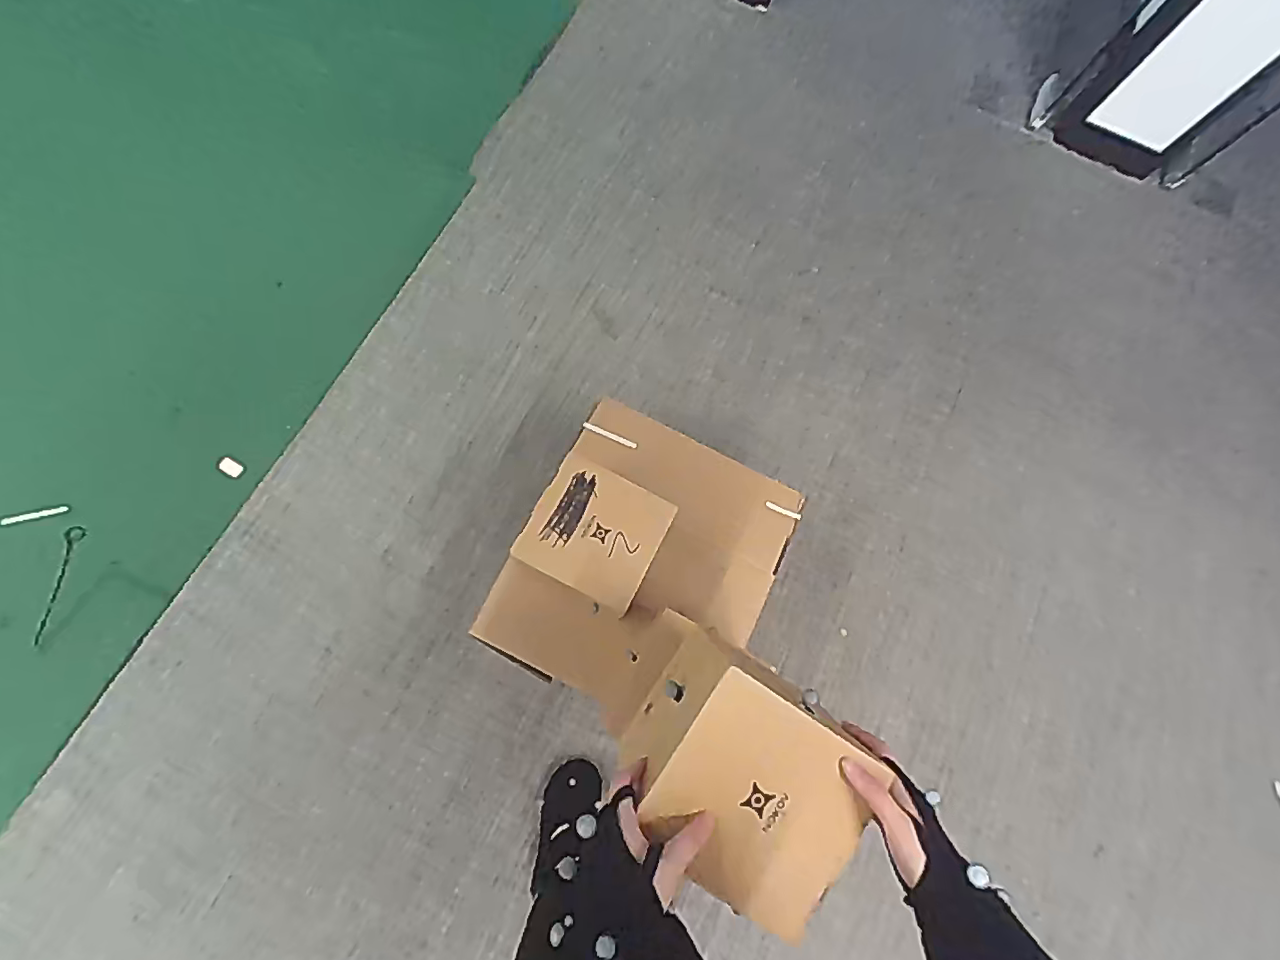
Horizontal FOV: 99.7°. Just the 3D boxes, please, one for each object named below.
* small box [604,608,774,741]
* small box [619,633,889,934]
[{"bbox_3d":[0.057,0.298,0.761,0.168,0.176,0.179,28,74,2],"label":"small box"},{"bbox_3d":[0.092,0.270,0.533,0.179,0.176,0.168,34,85,-4],"label":"small box"}]
